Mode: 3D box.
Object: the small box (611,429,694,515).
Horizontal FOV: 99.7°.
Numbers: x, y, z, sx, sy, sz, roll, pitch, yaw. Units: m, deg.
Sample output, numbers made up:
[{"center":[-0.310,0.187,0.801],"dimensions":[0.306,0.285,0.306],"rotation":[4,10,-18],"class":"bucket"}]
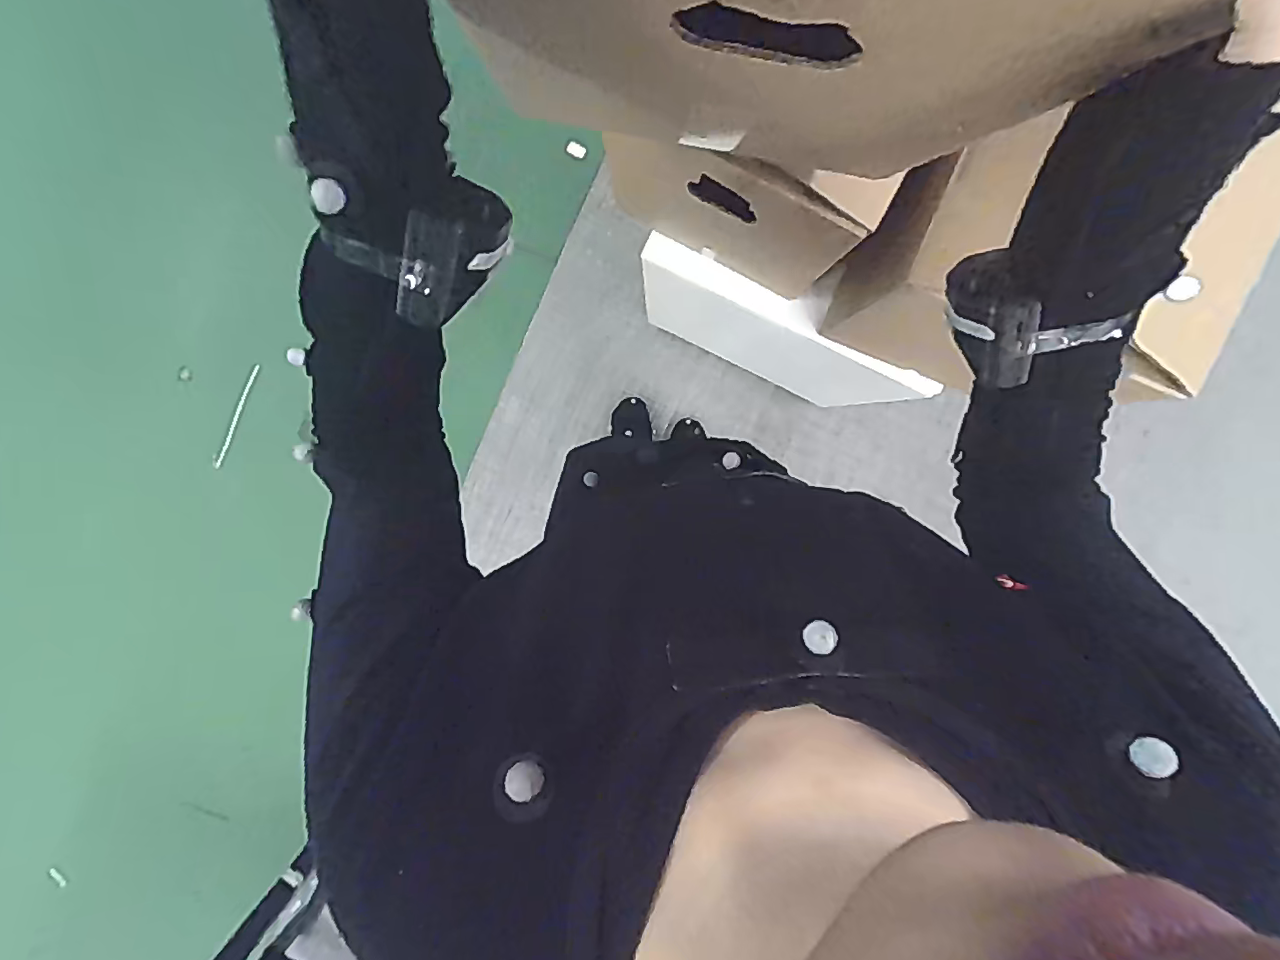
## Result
[{"center":[0.025,-0.026,1.420],"dimensions":[0.168,0.176,0.179],"rotation":[11,100,-14],"class":"small box"}]
